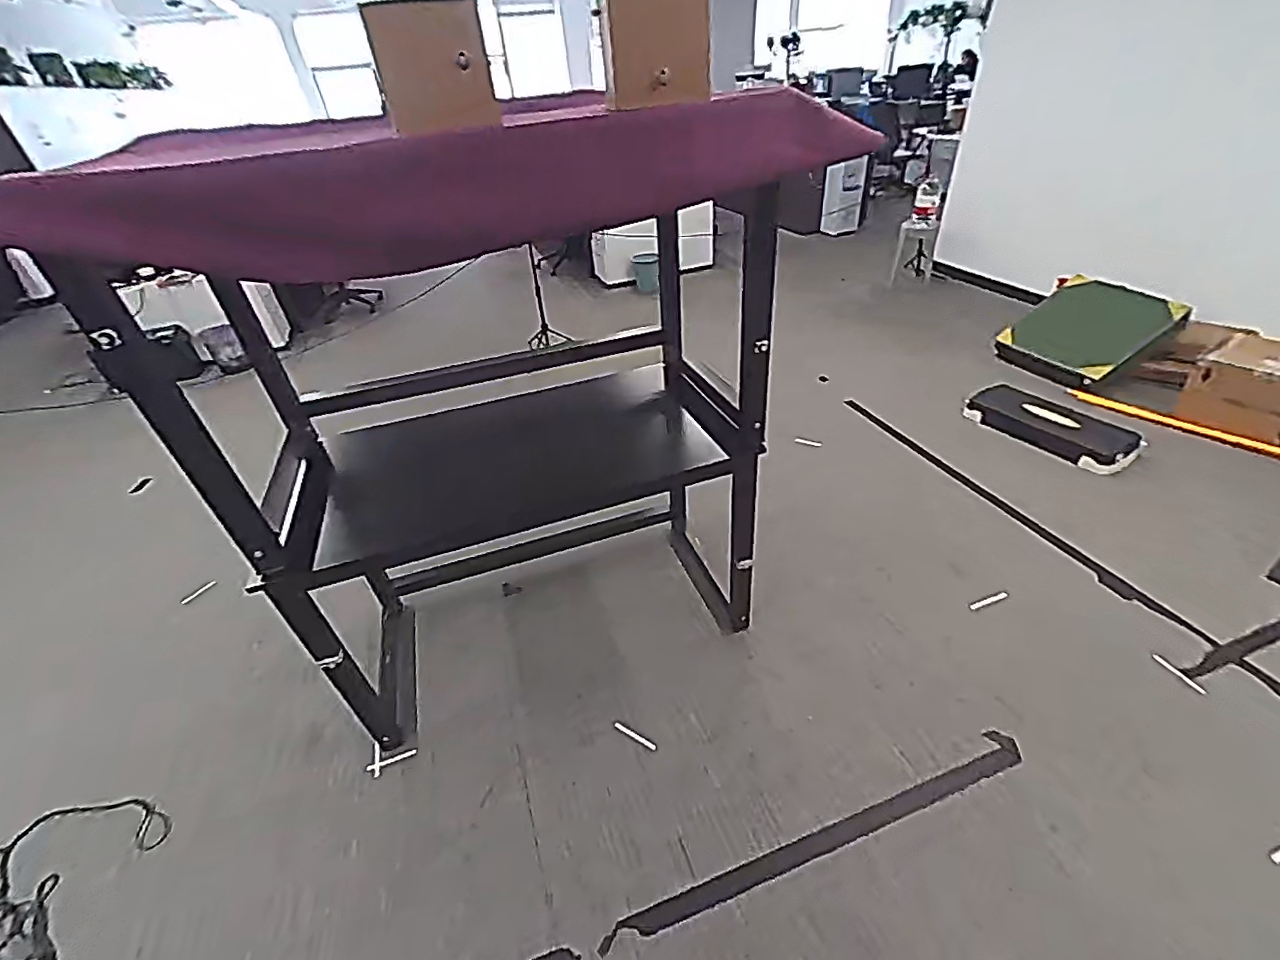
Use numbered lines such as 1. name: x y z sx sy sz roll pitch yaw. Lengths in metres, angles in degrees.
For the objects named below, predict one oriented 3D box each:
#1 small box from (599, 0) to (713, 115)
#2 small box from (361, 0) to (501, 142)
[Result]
1. small box: 0.026 -0.774 0.978 0.179 0.176 0.168 -9 36 -5
2. small box: -0.338 -0.678 0.903 0.179 0.176 0.168 -15 37 -12
